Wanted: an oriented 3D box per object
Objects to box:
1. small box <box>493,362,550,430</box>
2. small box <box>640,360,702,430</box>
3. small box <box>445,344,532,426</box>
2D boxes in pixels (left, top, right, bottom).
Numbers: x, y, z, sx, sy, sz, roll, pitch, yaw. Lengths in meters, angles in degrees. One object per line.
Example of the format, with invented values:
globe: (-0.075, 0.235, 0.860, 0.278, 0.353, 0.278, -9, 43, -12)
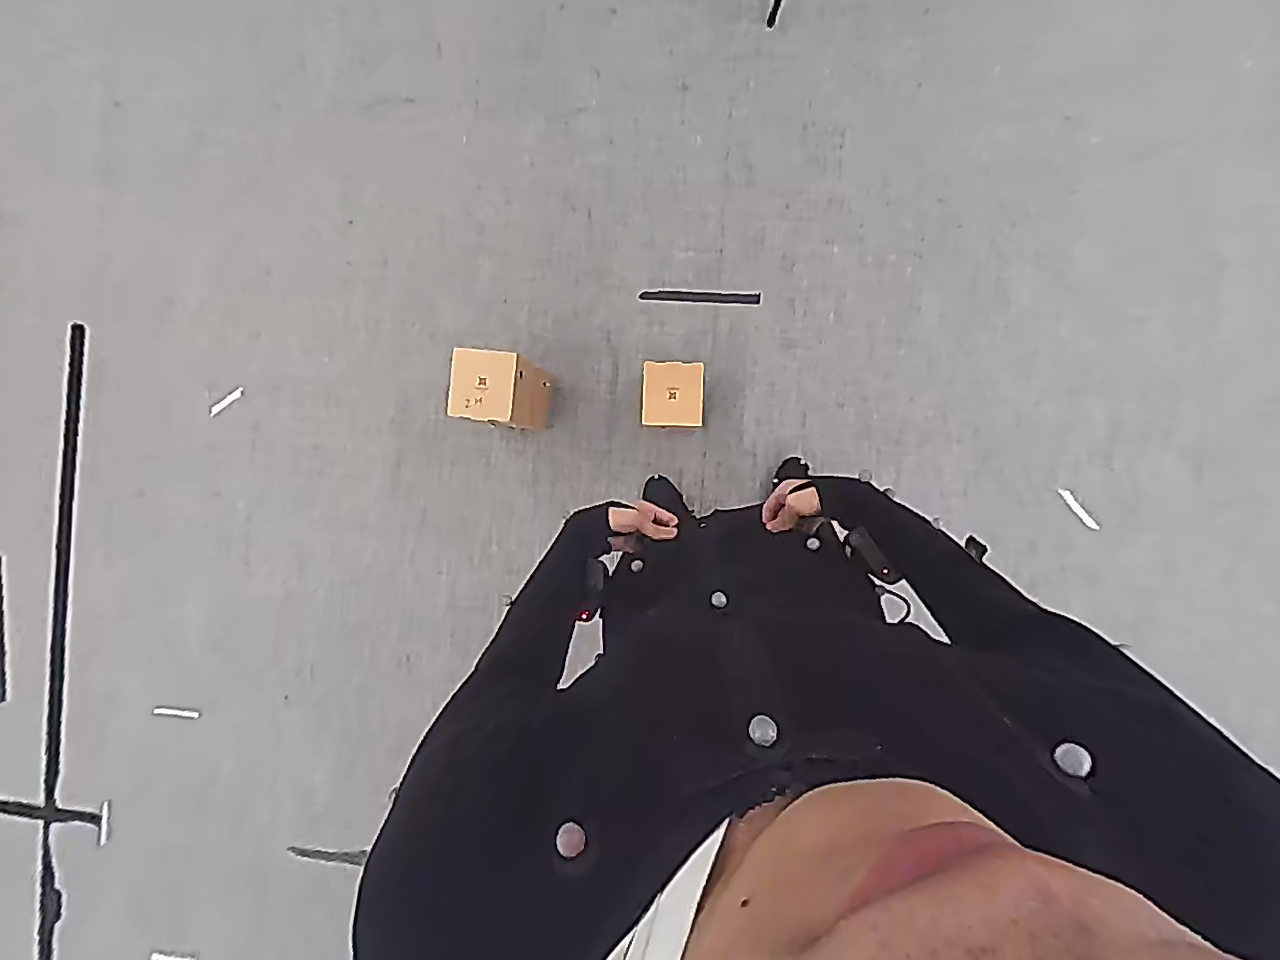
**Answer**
small box: (-0.366, -0.246, 1.570, 0.168, 0.176, 0.179, 7, 91, 5)
small box: (0.089, -0.236, 1.541, 0.168, 0.176, 0.179, 2, 90, 4)
small box: (-0.386, -0.242, 1.407, 0.168, 0.176, 0.179, 7, 92, 5)
